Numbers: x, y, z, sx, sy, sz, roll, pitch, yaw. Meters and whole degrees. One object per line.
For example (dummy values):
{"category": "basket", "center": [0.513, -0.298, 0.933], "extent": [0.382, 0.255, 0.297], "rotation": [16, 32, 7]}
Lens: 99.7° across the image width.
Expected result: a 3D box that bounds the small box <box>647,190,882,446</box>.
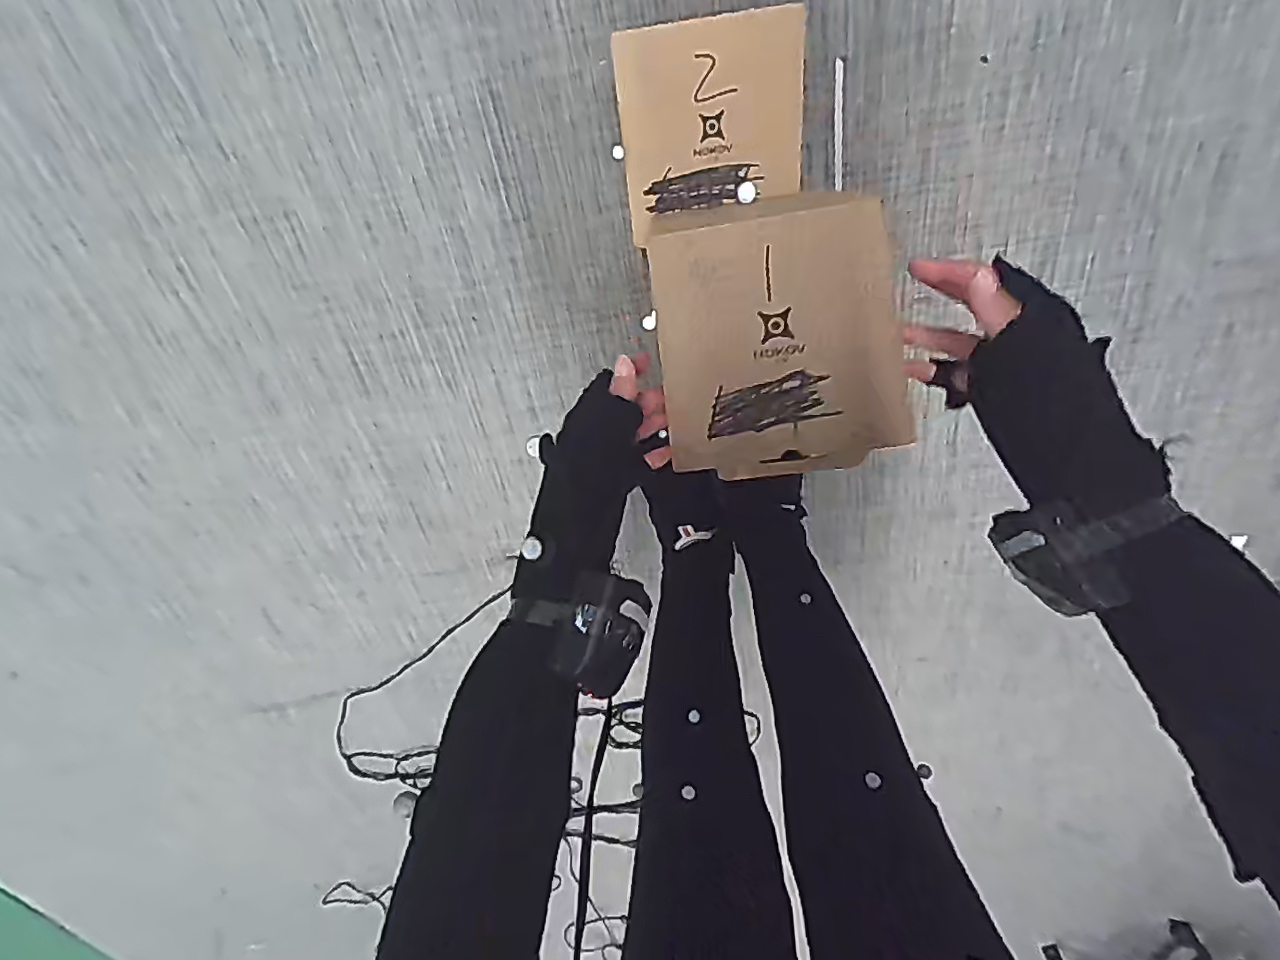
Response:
{"category": "small box", "center": [0.102, -0.151, 0.489], "extent": [0.168, 0.176, 0.179], "rotation": [-6, 119, 6]}
